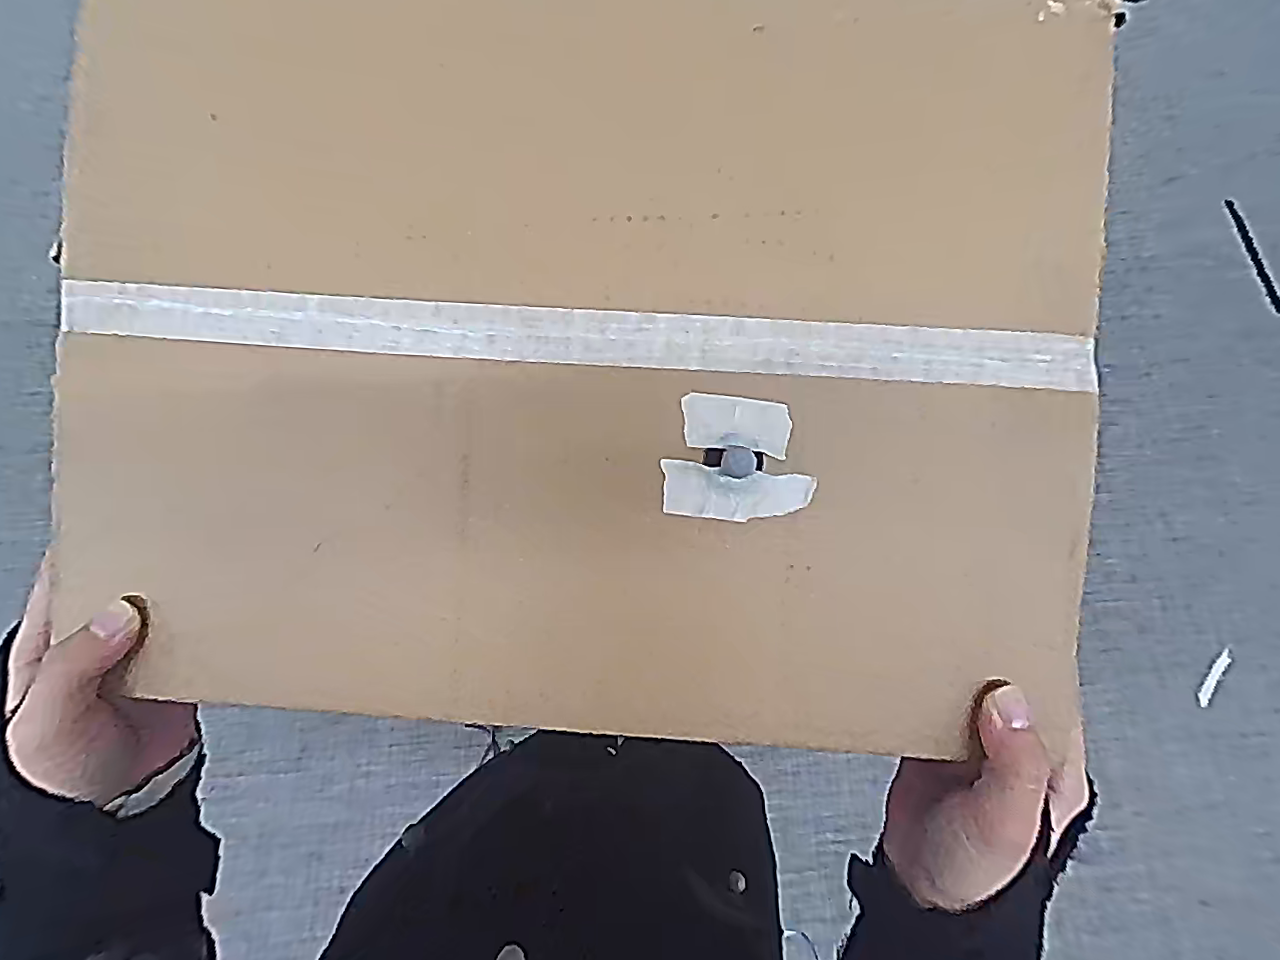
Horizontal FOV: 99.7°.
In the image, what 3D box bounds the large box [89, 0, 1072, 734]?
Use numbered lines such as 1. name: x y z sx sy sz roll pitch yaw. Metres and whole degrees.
1. large box: -0.025 -0.053 0.375 0.408 0.320 0.320 3 91 0
